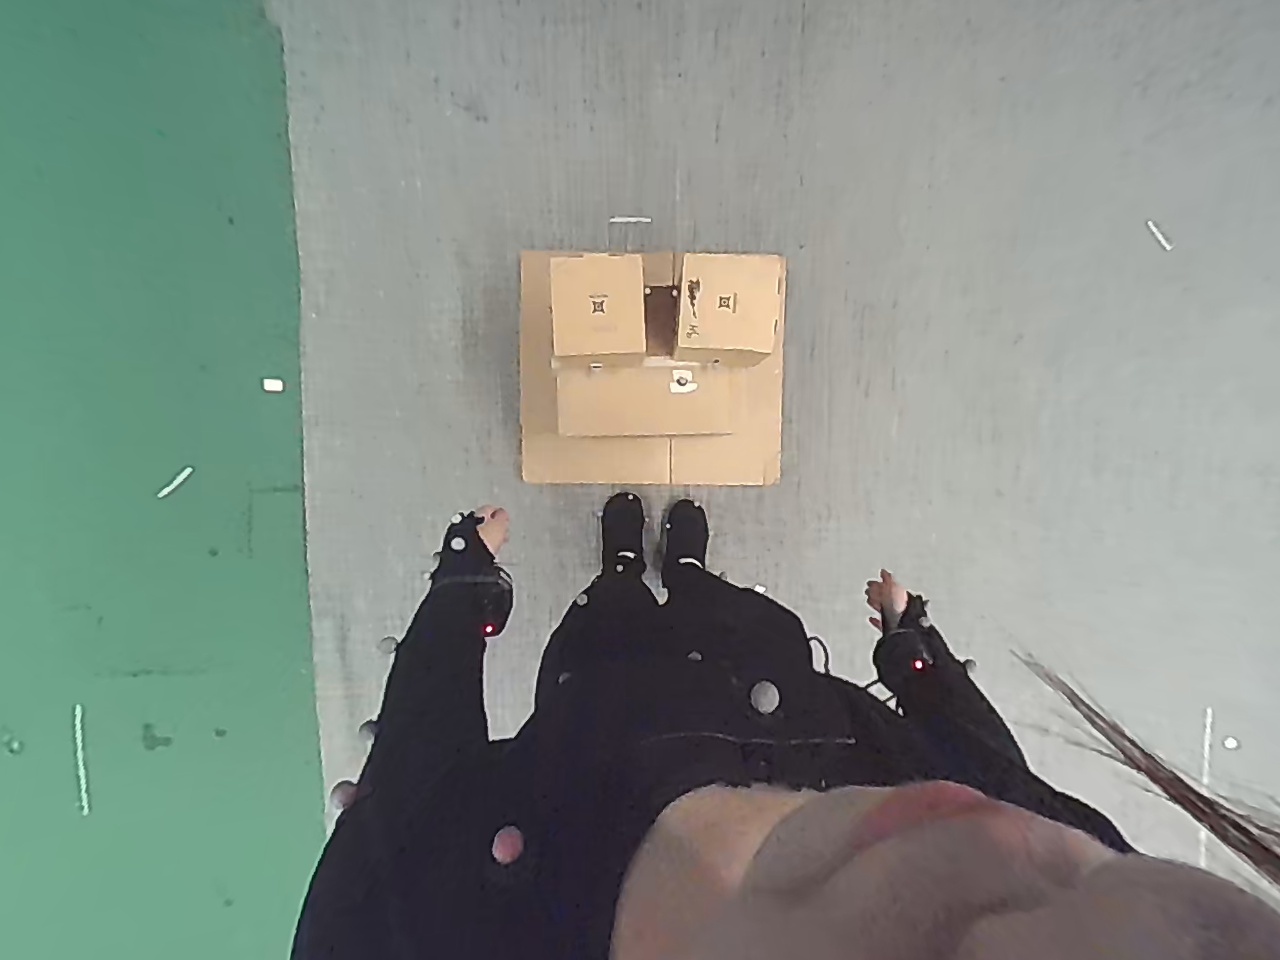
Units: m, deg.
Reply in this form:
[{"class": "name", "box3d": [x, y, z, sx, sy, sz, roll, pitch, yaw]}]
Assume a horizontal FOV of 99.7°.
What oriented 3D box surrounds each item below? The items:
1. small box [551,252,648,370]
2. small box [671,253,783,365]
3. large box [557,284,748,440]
[{"class": "small box", "box3d": [-0.074, -0.314, 1.032, 0.168, 0.176, 0.179, -4, 93, 0]}, {"class": "small box", "box3d": [0.158, -0.317, 1.034, 0.179, 0.176, 0.168, 4, 93, -1]}, {"class": "large box", "box3d": [0.019, -0.260, 1.281, 0.408, 0.320, 0.320, -2, 94, -2]}]
